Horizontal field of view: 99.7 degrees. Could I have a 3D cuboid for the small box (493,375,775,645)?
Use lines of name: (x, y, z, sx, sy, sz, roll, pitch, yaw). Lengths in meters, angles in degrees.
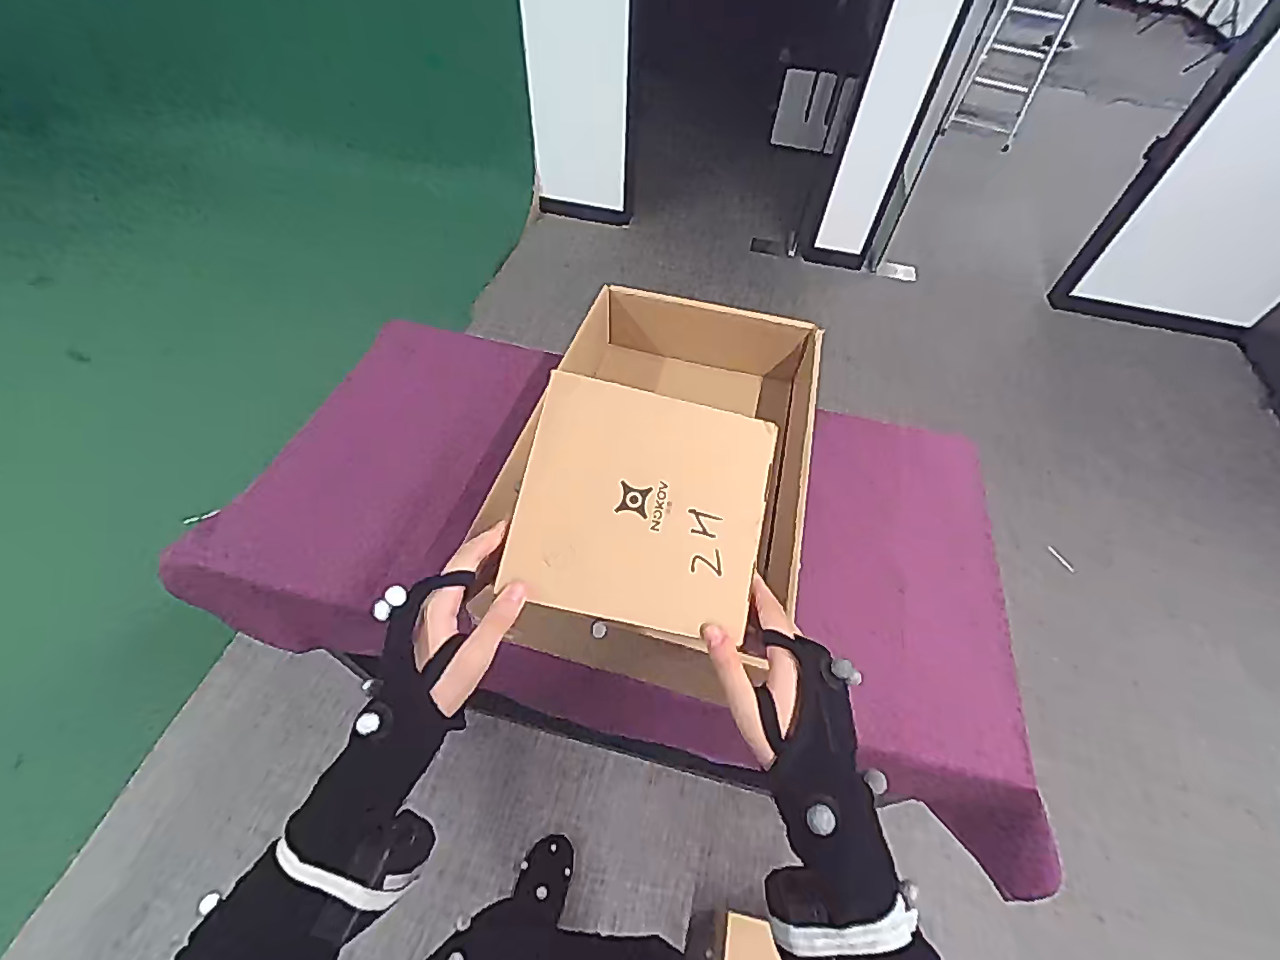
small box: (-0.007, 0.035, 0.464, 0.179, 0.176, 0.168, 14, 77, -4)
